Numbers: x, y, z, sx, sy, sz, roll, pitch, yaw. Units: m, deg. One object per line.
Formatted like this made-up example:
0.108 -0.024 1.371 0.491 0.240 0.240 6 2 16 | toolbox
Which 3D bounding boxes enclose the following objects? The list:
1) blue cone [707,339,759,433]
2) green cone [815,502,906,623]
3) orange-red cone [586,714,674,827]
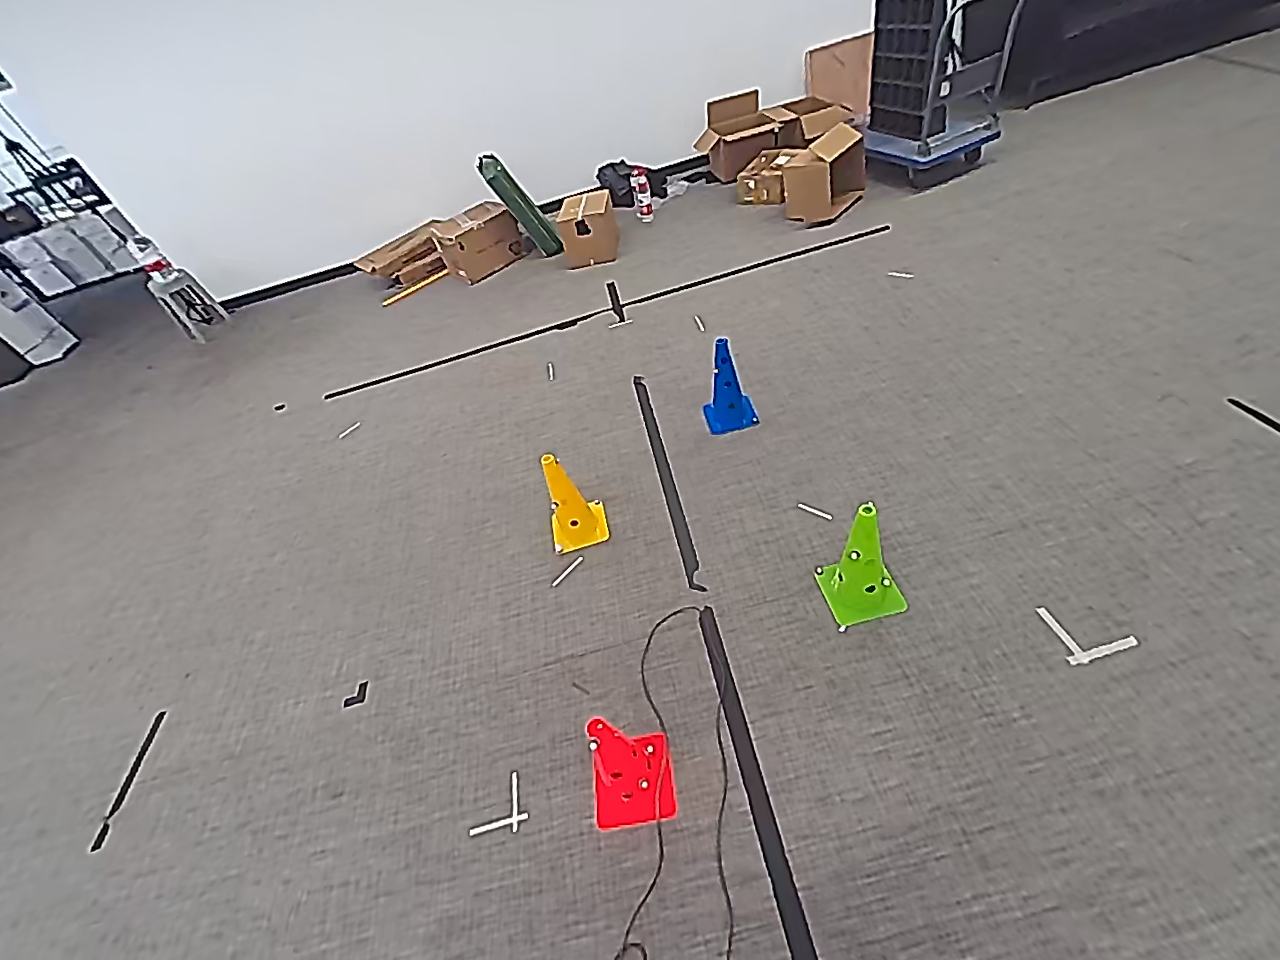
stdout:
0.345 -0.381 2.119 0.192 0.380 0.193 -12 45 4 | blue cone
0.599 0.195 1.449 0.202 0.368 0.200 -15 44 1 | green cone
-0.057 0.626 1.234 0.199 0.360 0.198 -13 43 6 | orange-red cone
